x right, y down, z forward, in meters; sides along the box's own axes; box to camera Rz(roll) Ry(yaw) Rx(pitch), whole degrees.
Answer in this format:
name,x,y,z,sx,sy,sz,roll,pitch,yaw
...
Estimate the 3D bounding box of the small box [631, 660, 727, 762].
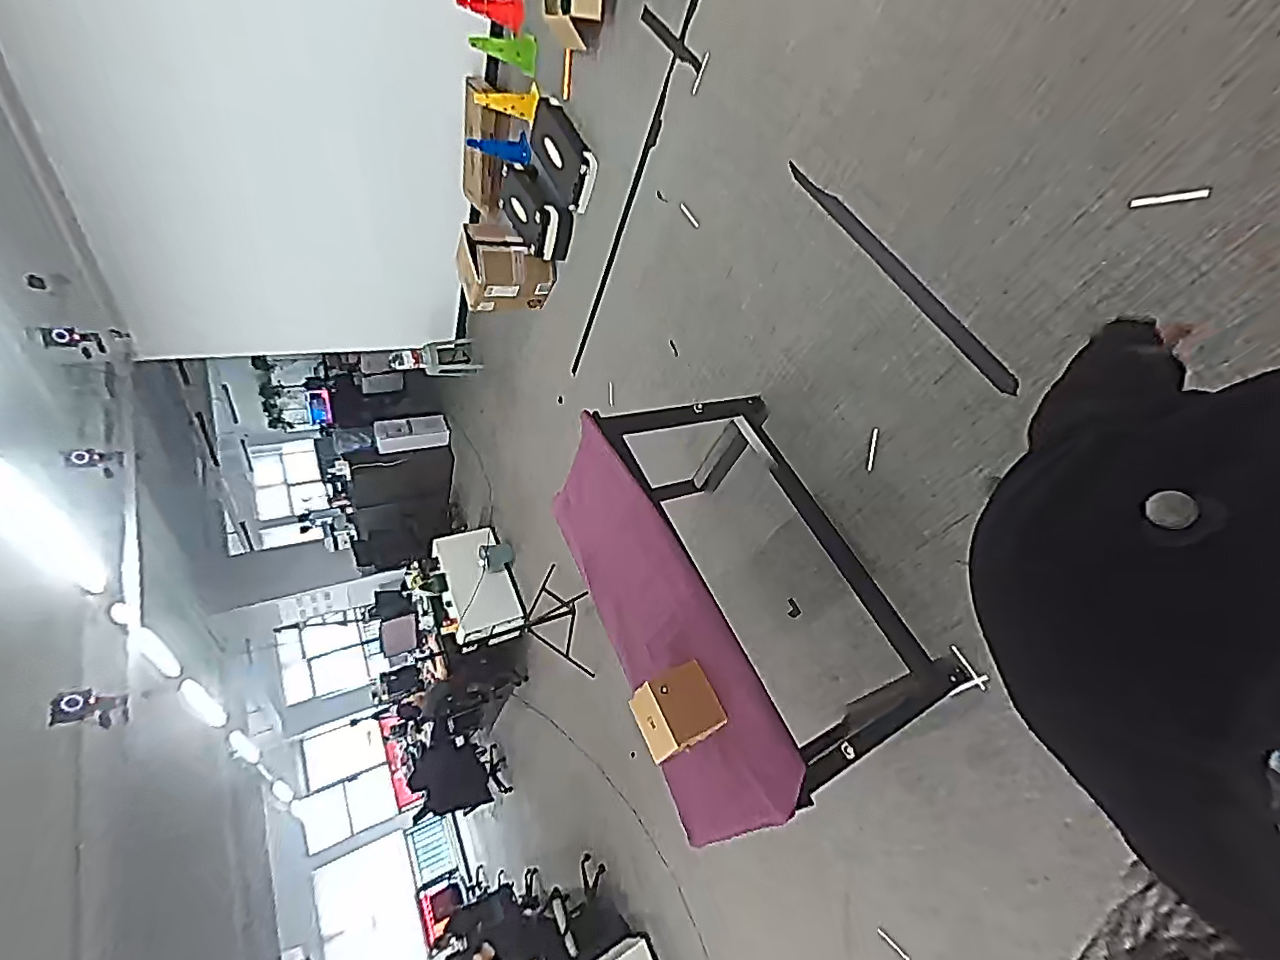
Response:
name,x,y,z,sx,sy,sz,roll,pitch,yaw
small box,0.105,0.615,1.448,0.179,0.176,0.168,60,144,29
